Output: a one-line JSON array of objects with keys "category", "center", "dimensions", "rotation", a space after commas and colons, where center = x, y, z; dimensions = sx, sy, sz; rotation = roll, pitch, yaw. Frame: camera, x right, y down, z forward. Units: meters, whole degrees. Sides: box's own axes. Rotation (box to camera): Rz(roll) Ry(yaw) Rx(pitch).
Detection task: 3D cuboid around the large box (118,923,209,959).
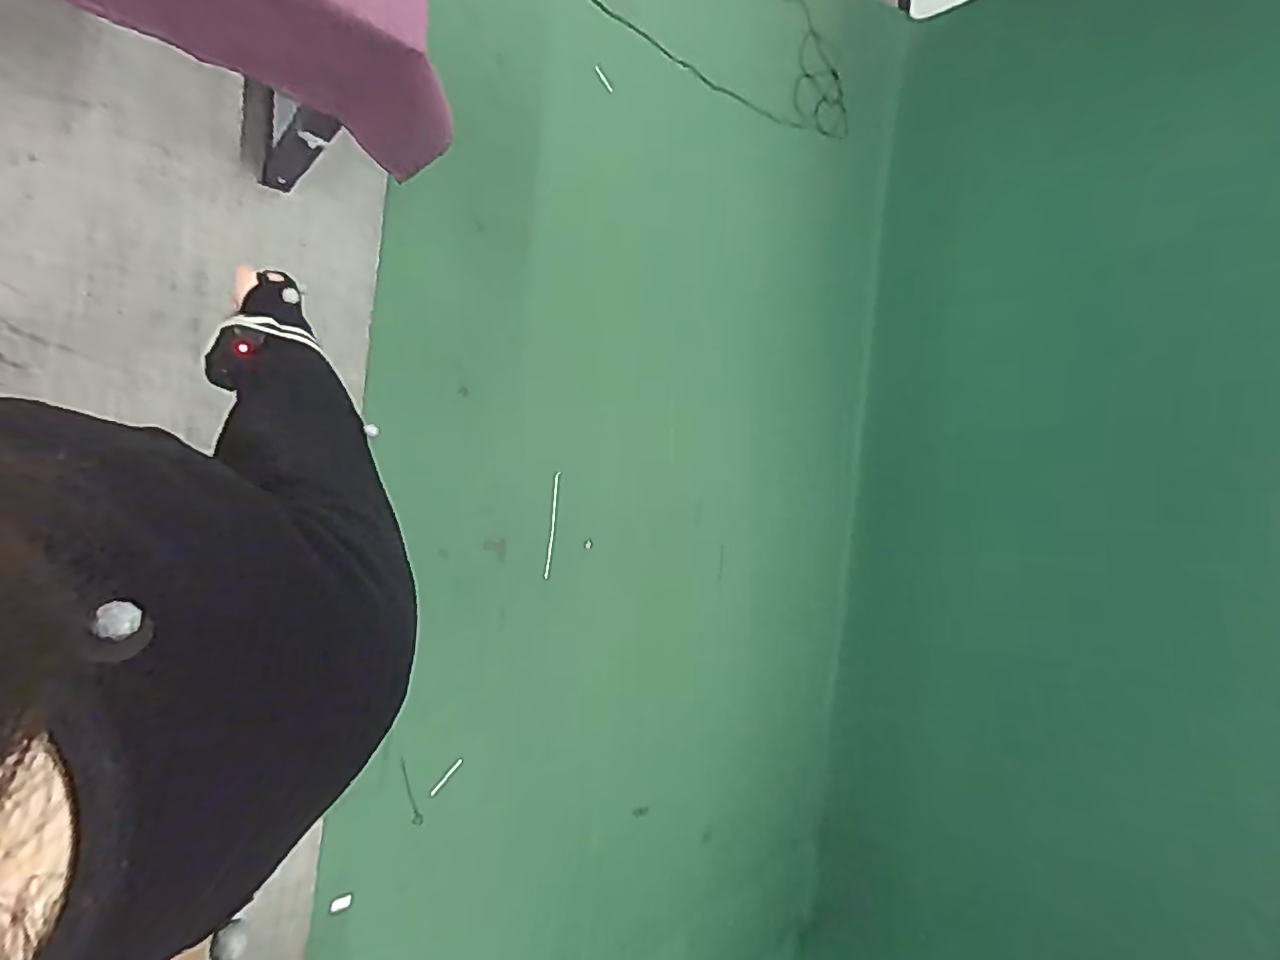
[{"category": "large box", "center": [-1.049, 1.244, 1.076], "dimensions": [0.320, 0.320, 0.408], "rotation": [3, 94, -46]}]
